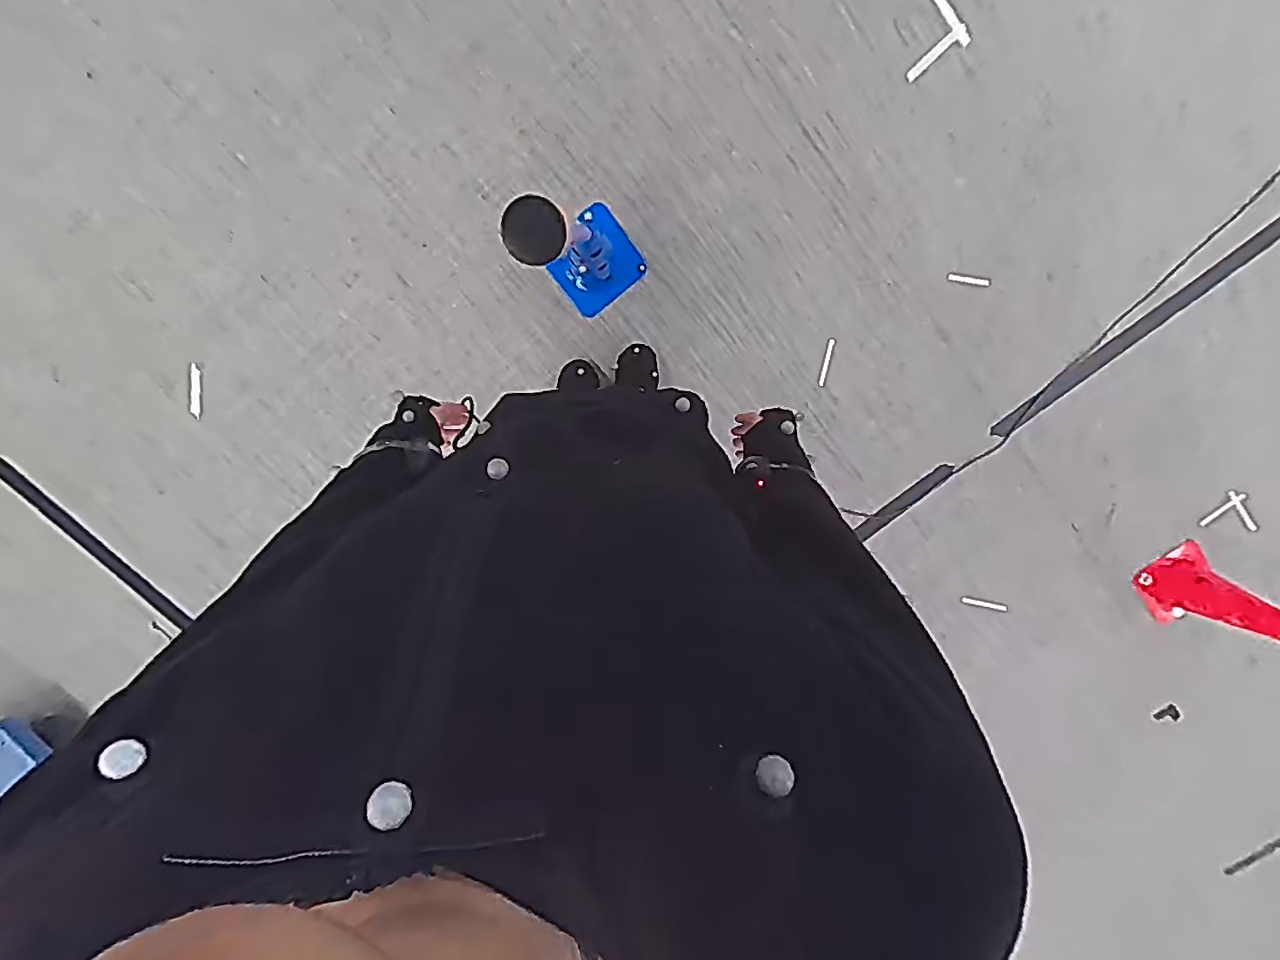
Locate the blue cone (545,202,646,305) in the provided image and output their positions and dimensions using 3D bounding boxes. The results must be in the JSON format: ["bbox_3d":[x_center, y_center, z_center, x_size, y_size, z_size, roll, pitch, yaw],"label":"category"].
[{"bbox_3d":[-0.101,-0.498,1.134,0.192,0.380,0.193,-36,103,6],"label":"blue cone"}]
